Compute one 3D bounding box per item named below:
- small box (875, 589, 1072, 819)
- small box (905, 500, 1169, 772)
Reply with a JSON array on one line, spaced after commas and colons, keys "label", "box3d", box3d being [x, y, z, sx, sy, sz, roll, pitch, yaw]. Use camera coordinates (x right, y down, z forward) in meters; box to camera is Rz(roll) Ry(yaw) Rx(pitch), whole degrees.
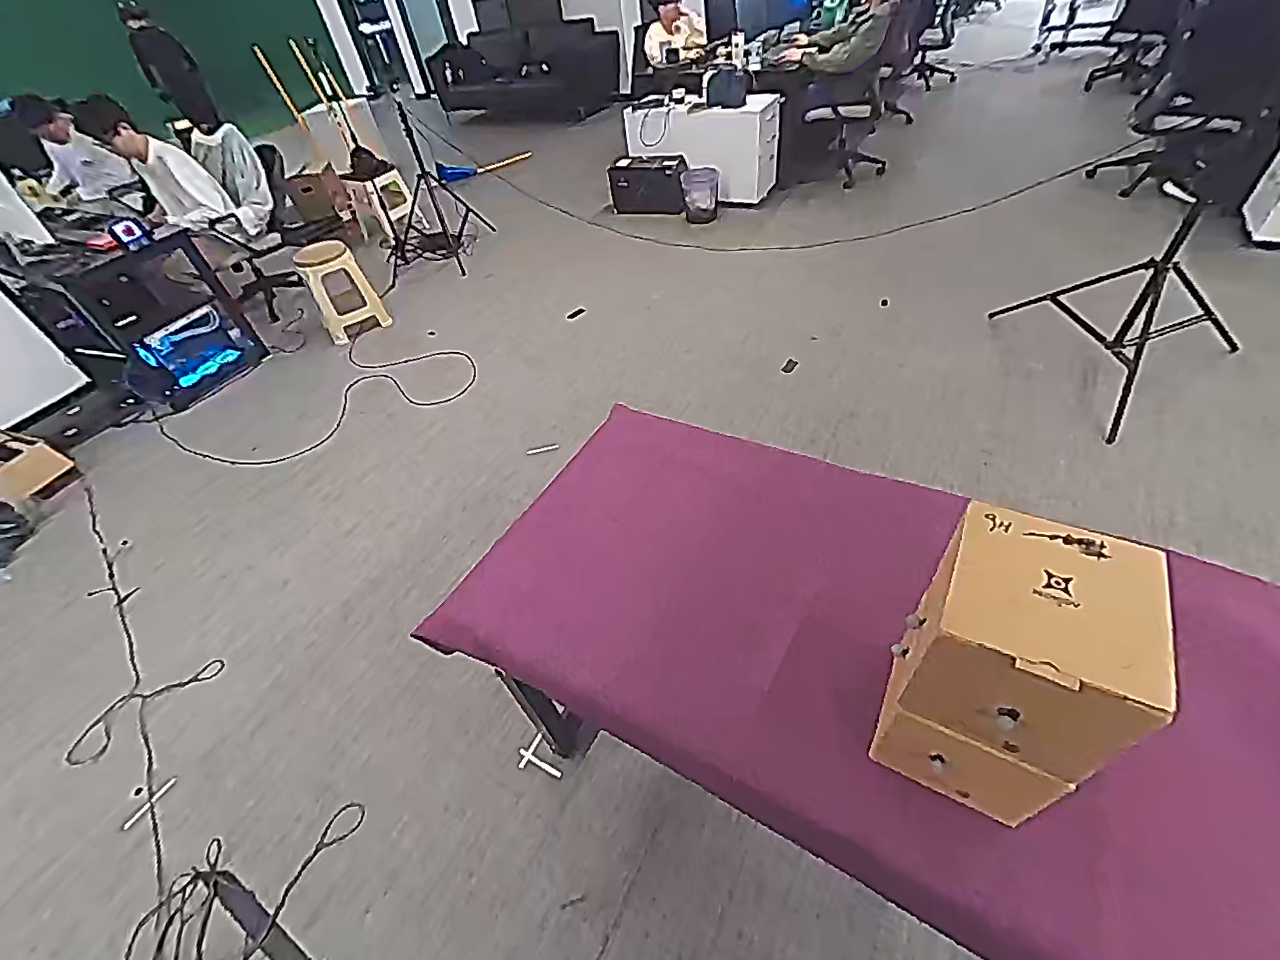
[{"label": "small box", "box3d": [0.401, 0.273, 0.660, 0.168, 0.176, 0.179, 18, 51, 25]}, {"label": "small box", "box3d": [0.385, 0.156, 0.546, 0.168, 0.176, 0.179, 19, 52, 26]}]
